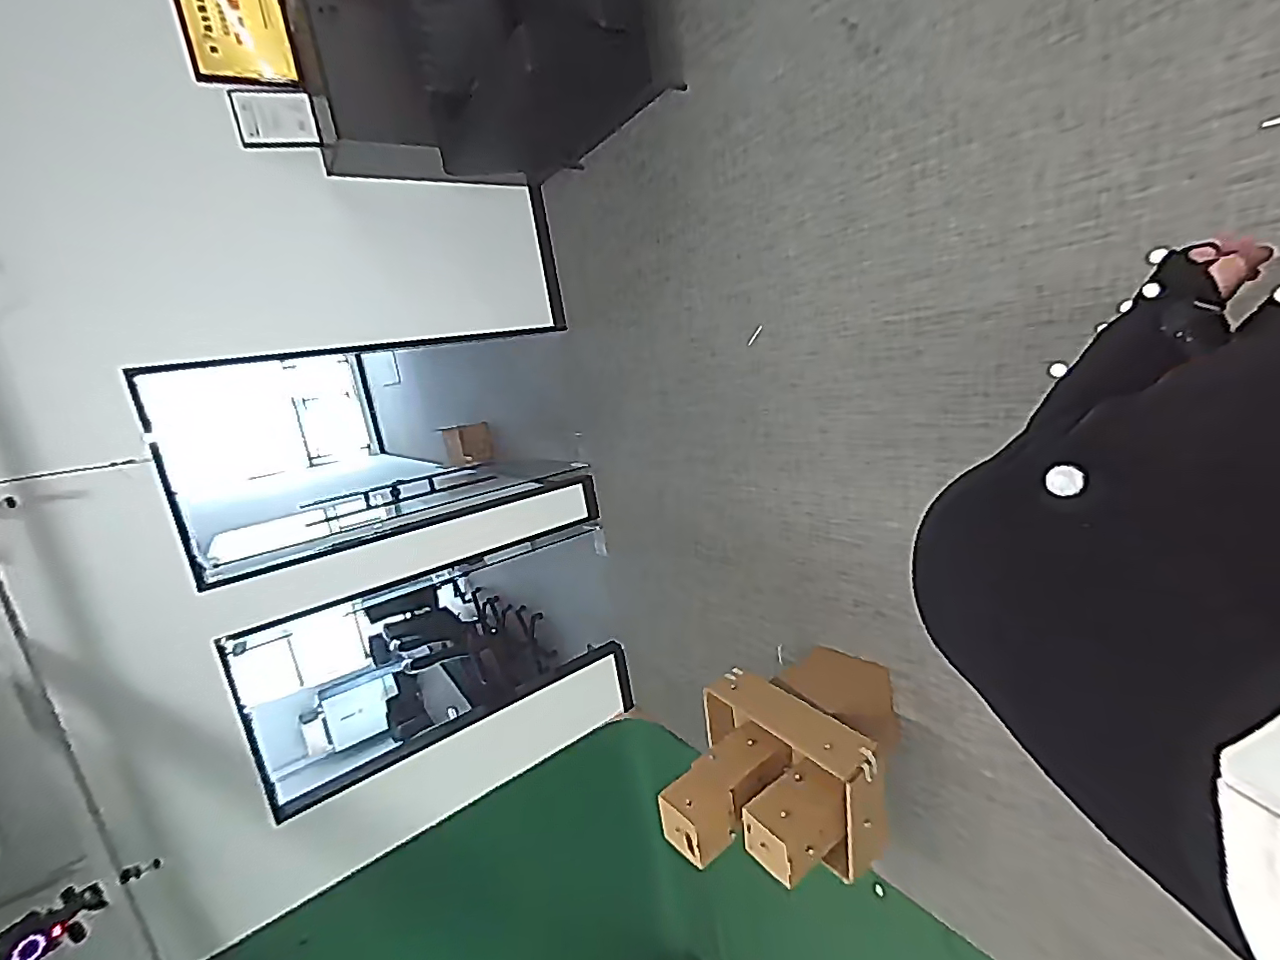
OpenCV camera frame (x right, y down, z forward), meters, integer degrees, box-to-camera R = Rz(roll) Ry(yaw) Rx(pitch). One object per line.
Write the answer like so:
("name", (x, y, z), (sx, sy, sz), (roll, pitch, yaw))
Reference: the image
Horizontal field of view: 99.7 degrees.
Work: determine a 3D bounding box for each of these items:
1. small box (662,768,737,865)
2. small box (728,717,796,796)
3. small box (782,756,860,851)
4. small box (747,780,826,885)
("small box", (0.199, 1.069, 1.739), (0.179, 0.176, 0.168), (7, 109, 52))
("small box", (0.441, 0.989, 1.947), (0.179, 0.176, 0.168), (10, 111, 51))
("small box", (0.583, 1.027, 1.741), (0.179, 0.176, 0.168), (15, 117, 54))
("small box", (0.451, 1.066, 1.654), (0.179, 0.176, 0.168), (14, 115, 53))
